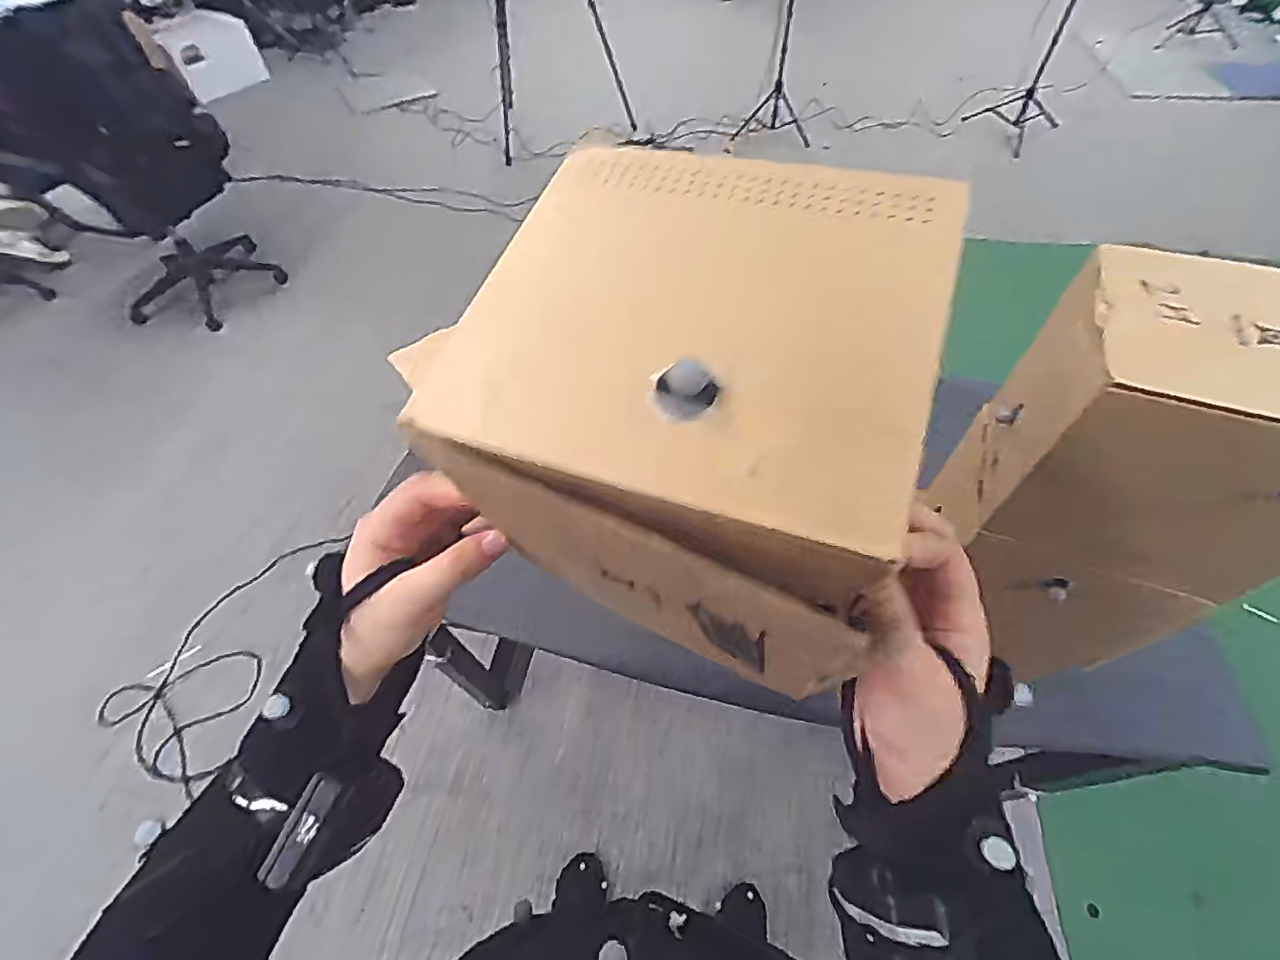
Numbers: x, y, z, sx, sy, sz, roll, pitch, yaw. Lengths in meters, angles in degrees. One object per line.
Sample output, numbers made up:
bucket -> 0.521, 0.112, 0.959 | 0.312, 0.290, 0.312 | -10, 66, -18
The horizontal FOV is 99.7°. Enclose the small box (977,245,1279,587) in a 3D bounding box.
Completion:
small box -> 0.389, -0.042, 0.405 | 0.179, 0.176, 0.168 | 18, 56, 17

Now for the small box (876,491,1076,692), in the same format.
small box -> 0.404, 0.141, 0.676 | 0.168, 0.176, 0.179 | 8, 55, 10

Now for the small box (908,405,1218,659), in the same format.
small box -> 0.394, 0.057, 0.537 | 0.179, 0.176, 0.168 | 17, 56, 16

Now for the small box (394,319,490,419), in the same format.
small box -> -0.273, -0.130, 0.906 | 0.168, 0.176, 0.179 | -34, 60, -19

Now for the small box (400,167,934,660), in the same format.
small box -> 0.028, -0.029, 0.276 | 0.179, 0.168, 0.176 | 15, 67, 17
